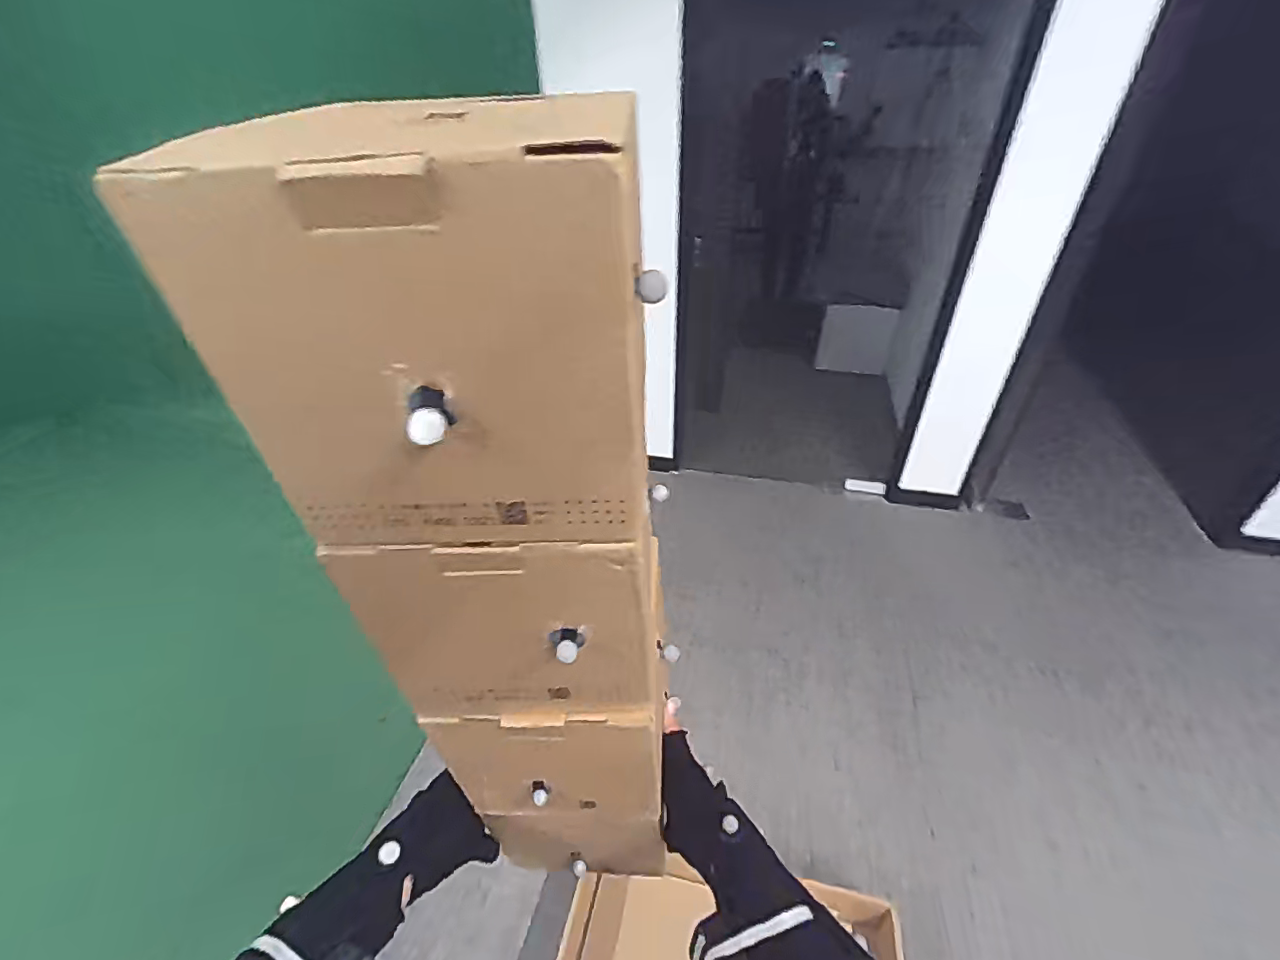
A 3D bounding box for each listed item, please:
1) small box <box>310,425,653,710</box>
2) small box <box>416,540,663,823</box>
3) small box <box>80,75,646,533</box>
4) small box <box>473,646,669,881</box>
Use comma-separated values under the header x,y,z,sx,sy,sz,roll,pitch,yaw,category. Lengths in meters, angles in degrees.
x,y,z,sx,sy,sz,roll,pitch,yaw,category
-0.076,0.041,0.374,0.168,0.176,0.179,-1,40,2,small box
-0.065,0.170,0.474,0.168,0.176,0.179,-1,40,4,small box
-0.082,-0.087,0.272,0.168,0.176,0.179,0,41,1,small box
-0.056,0.295,0.579,0.168,0.176,0.179,0,40,6,small box
